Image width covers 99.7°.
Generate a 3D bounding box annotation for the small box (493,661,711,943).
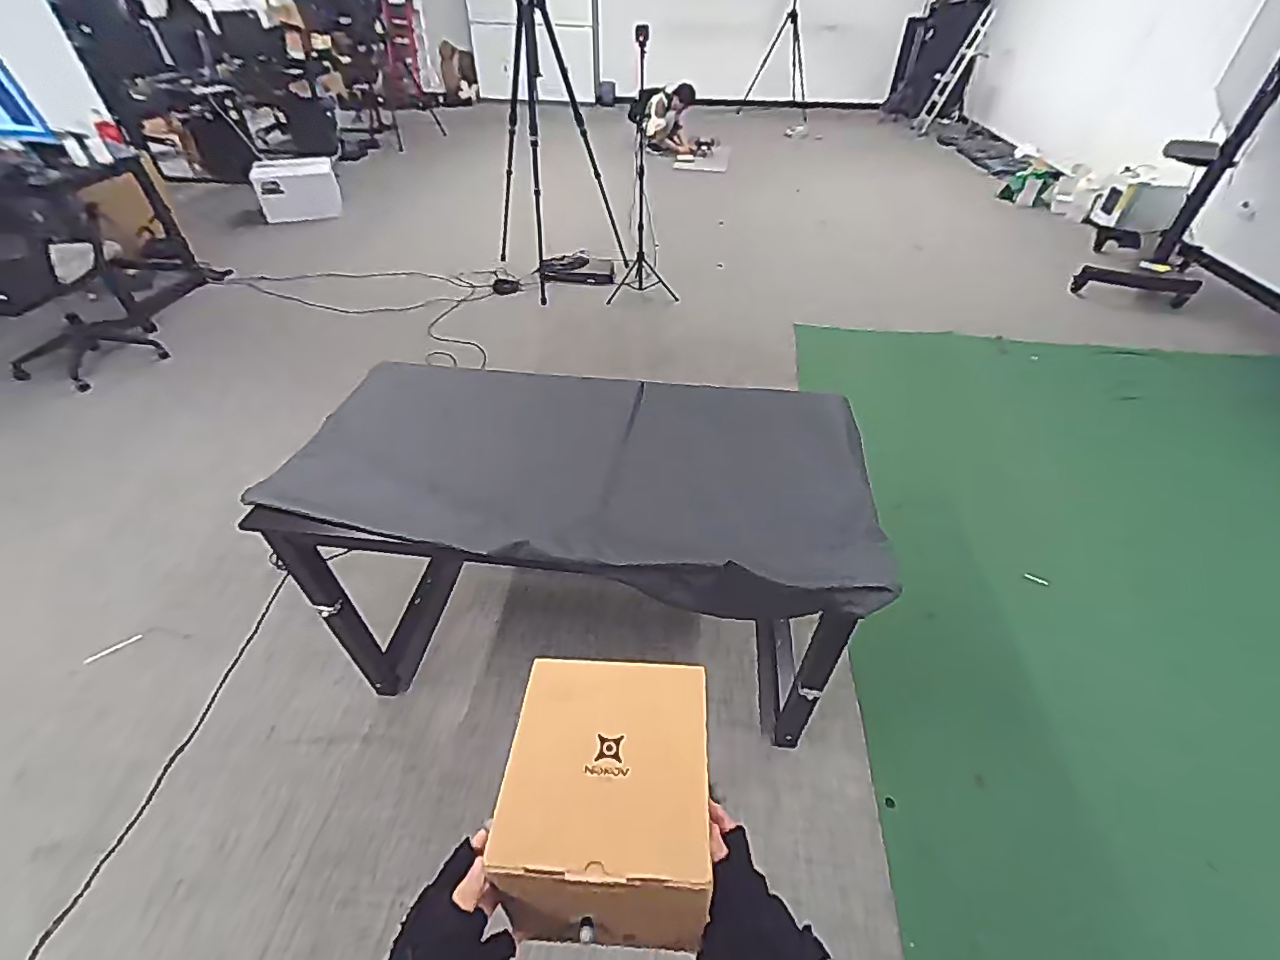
[{"bbox_3d":[-0.023,0.298,0.510,0.168,0.176,0.179,2,39,4],"label":"small box"}]
